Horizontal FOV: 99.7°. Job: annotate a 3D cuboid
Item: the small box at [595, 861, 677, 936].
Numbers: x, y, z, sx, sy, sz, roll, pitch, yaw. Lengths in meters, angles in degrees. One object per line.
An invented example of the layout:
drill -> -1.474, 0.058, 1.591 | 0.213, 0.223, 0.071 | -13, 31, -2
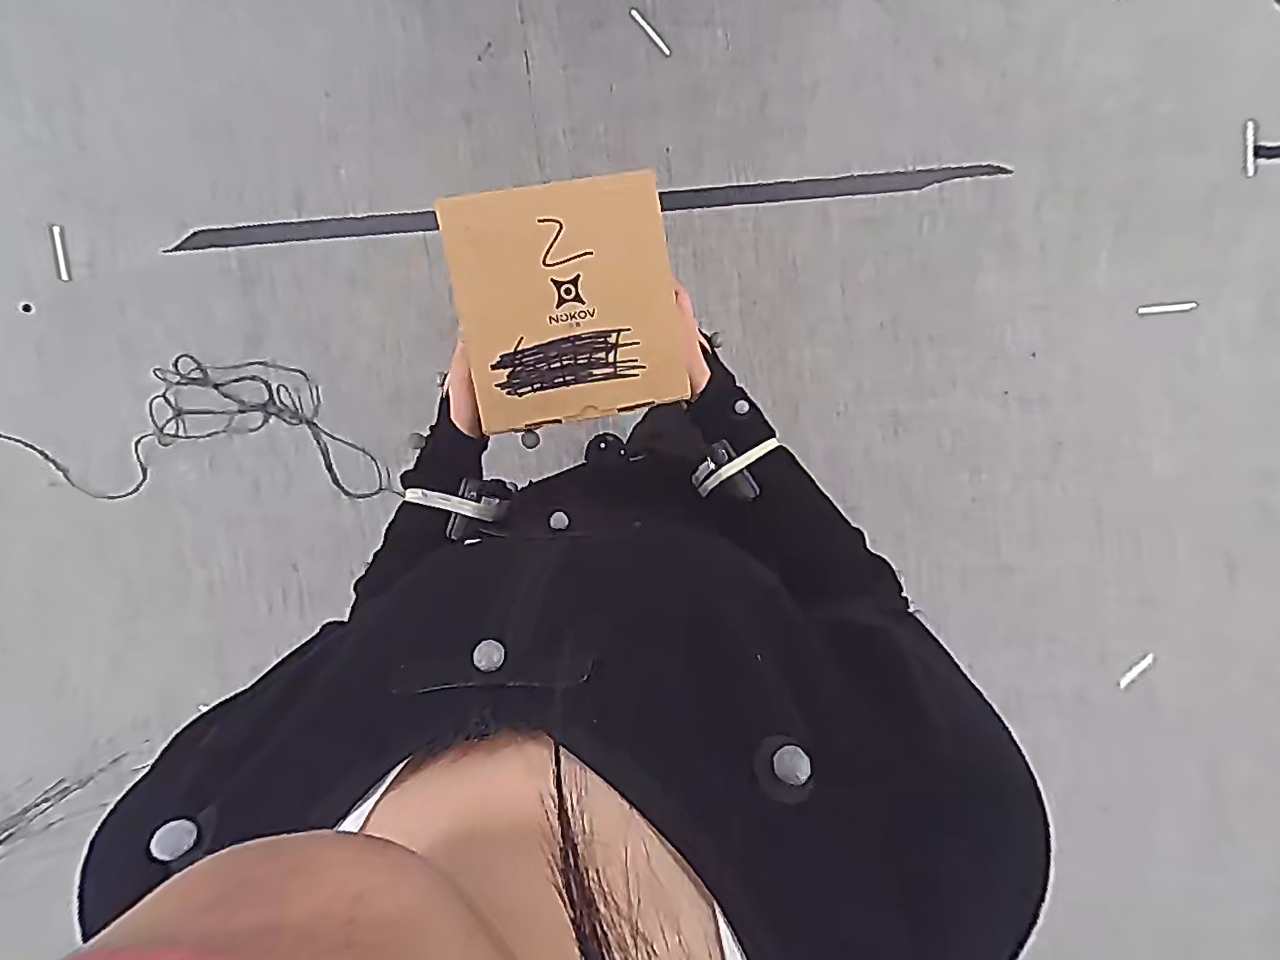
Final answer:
small box -> -0.008, 0.959, 1.166 | 0.168, 0.176, 0.179 | -4, 94, -1

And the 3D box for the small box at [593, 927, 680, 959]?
small box -> 0.000, 0.976, 1.002 | 0.168, 0.176, 0.179 | -5, 96, -2

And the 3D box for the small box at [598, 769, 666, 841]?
small box -> -0.016, 0.930, 1.492 | 0.179, 0.176, 0.168 | -6, 95, -1

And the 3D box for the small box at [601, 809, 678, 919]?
small box -> -0.005, 0.941, 1.328 | 0.179, 0.176, 0.168 | -3, 94, -2
